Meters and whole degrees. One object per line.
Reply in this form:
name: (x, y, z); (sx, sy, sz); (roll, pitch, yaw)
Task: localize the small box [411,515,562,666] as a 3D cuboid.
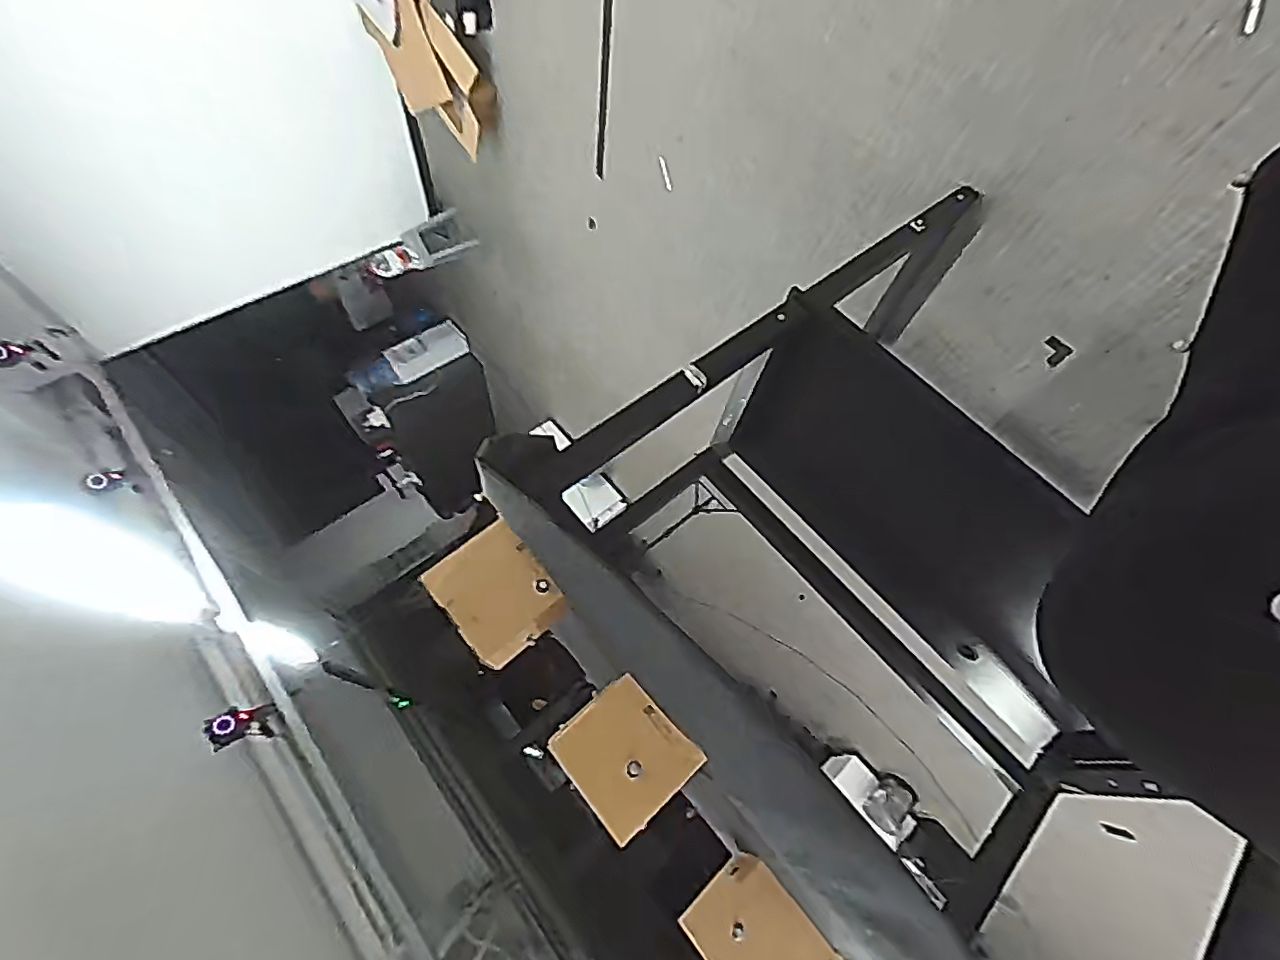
small box: (-0.244, 0.185, 0.904); (0.168, 0.176, 0.179); (48, 160, 14)

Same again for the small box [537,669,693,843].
small box: (-0.038, 0.417, 0.841); (0.168, 0.176, 0.179); (47, 159, 16)
